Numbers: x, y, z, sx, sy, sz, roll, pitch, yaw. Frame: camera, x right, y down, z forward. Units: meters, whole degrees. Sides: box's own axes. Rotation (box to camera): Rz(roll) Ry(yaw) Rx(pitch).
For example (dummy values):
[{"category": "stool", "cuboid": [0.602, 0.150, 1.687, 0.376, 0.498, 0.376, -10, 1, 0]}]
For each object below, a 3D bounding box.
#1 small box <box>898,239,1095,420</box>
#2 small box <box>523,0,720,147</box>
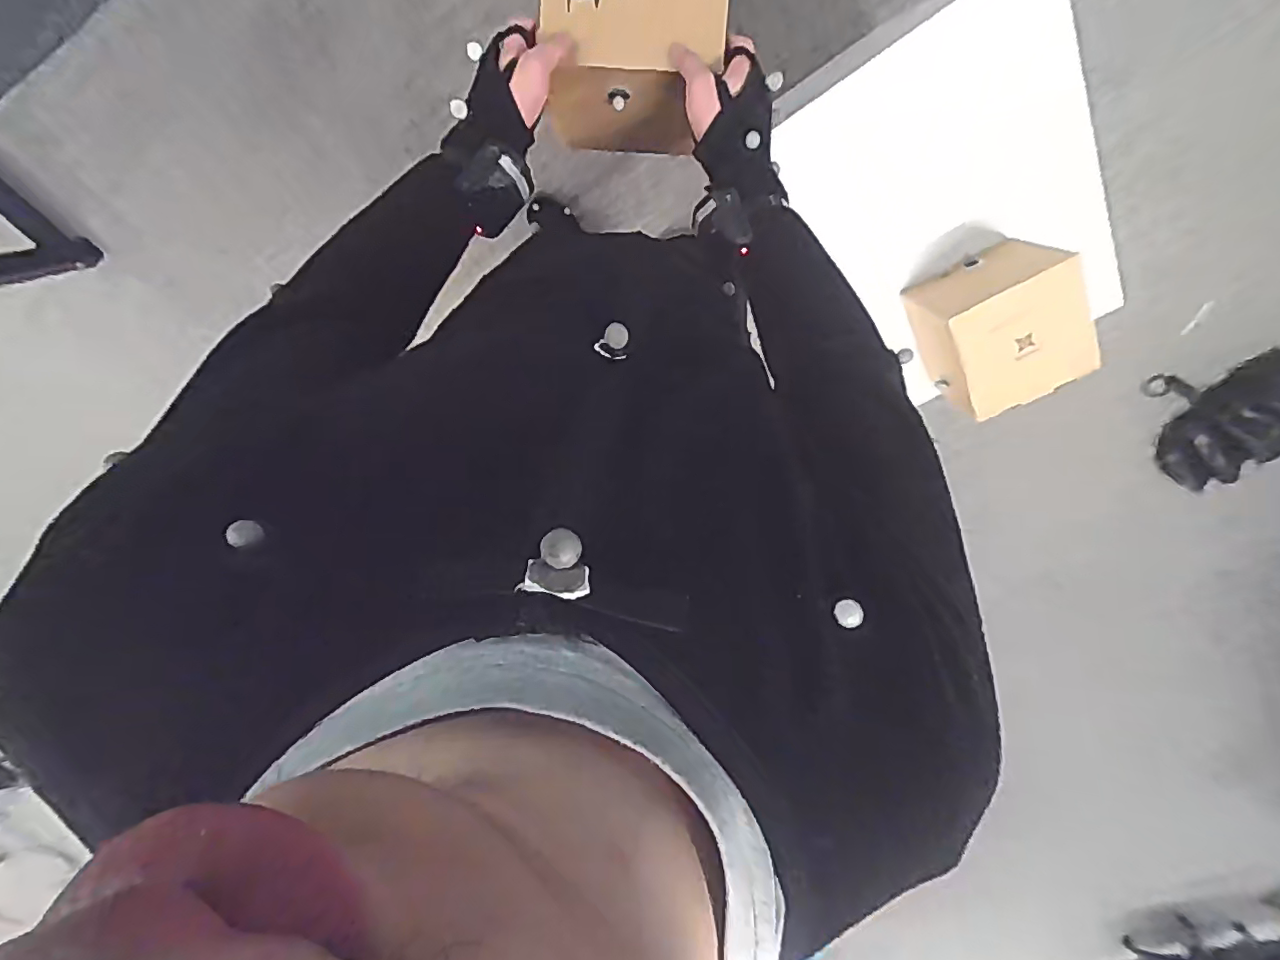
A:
[{"category": "small box", "cuboid": [0.508, -0.224, 0.788, 0.168, 0.176, 0.179, -27, 116, 16]}, {"category": "small box", "cuboid": [-0.011, -0.468, 0.554, 0.179, 0.176, 0.168, 4, 99, 1]}]
